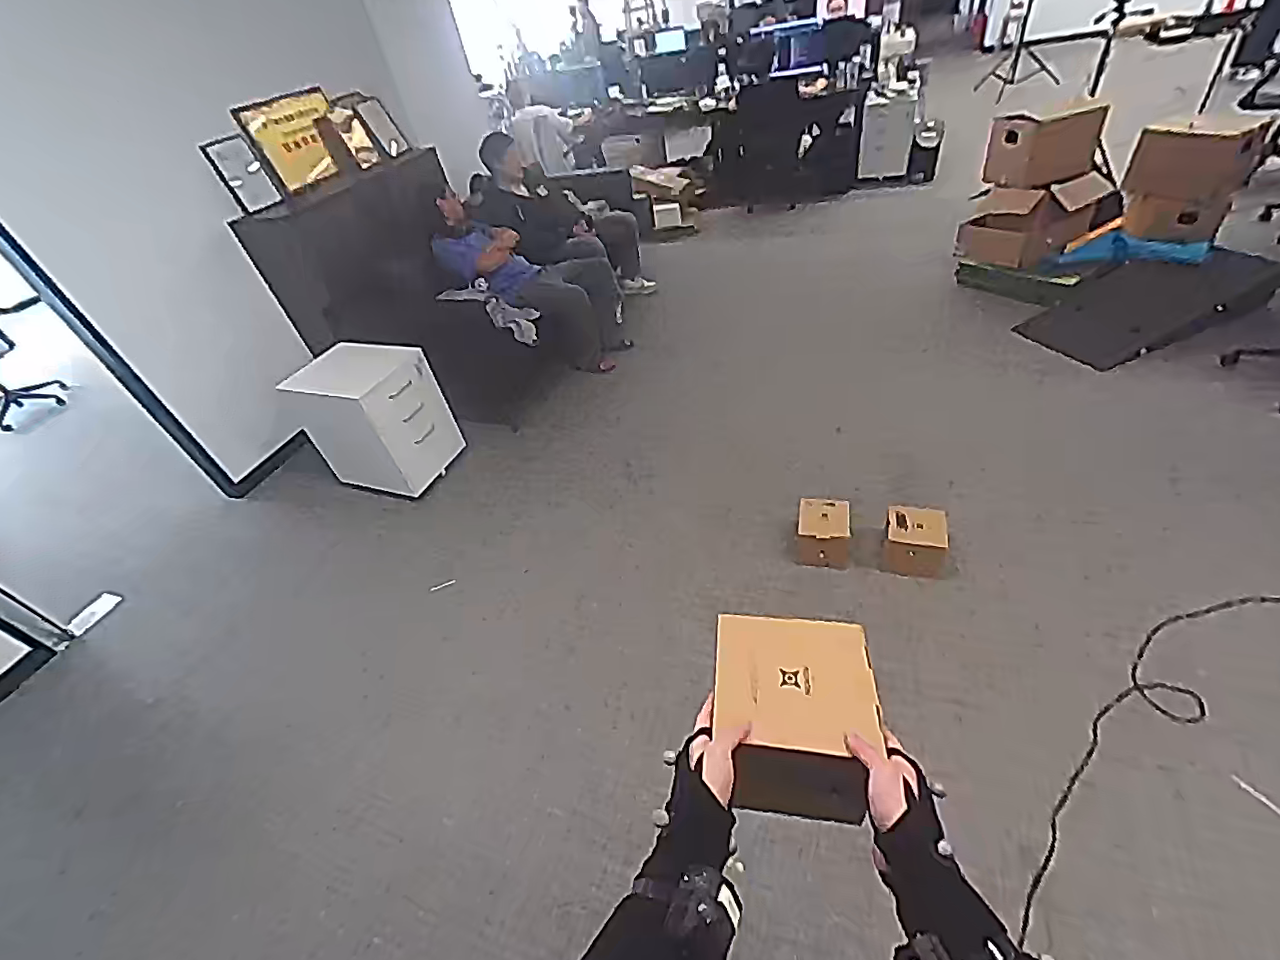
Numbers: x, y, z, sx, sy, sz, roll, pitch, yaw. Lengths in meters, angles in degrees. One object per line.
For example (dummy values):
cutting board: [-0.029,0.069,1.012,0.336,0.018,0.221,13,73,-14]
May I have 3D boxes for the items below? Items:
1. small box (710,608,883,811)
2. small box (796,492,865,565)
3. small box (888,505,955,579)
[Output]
small box: [0.182,0.282,0.667,0.179,0.176,0.168,1,37,12]
small box: [0.673,0.175,1.915,0.179,0.176,0.168,-18,39,-3]
small box: [0.939,0.209,1.810,0.179,0.176,0.168,9,48,25]
